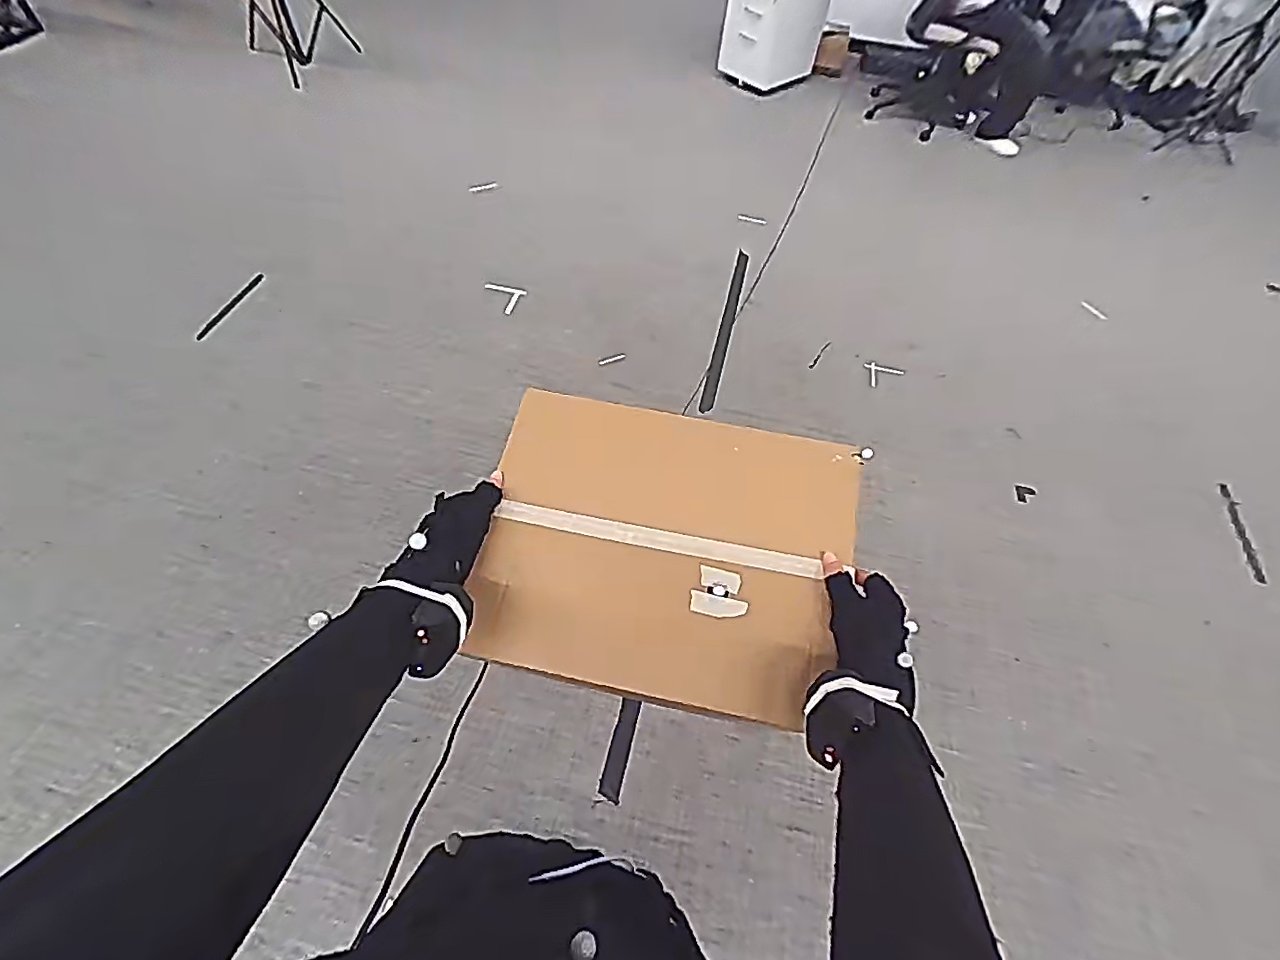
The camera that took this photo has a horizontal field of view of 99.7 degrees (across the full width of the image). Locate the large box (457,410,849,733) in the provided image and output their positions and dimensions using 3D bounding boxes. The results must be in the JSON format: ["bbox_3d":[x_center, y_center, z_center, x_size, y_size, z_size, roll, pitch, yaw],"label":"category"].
[{"bbox_3d":[0.027,0.139,0.743,0.408,0.320,0.320,11,68,4],"label":"large box"}]
